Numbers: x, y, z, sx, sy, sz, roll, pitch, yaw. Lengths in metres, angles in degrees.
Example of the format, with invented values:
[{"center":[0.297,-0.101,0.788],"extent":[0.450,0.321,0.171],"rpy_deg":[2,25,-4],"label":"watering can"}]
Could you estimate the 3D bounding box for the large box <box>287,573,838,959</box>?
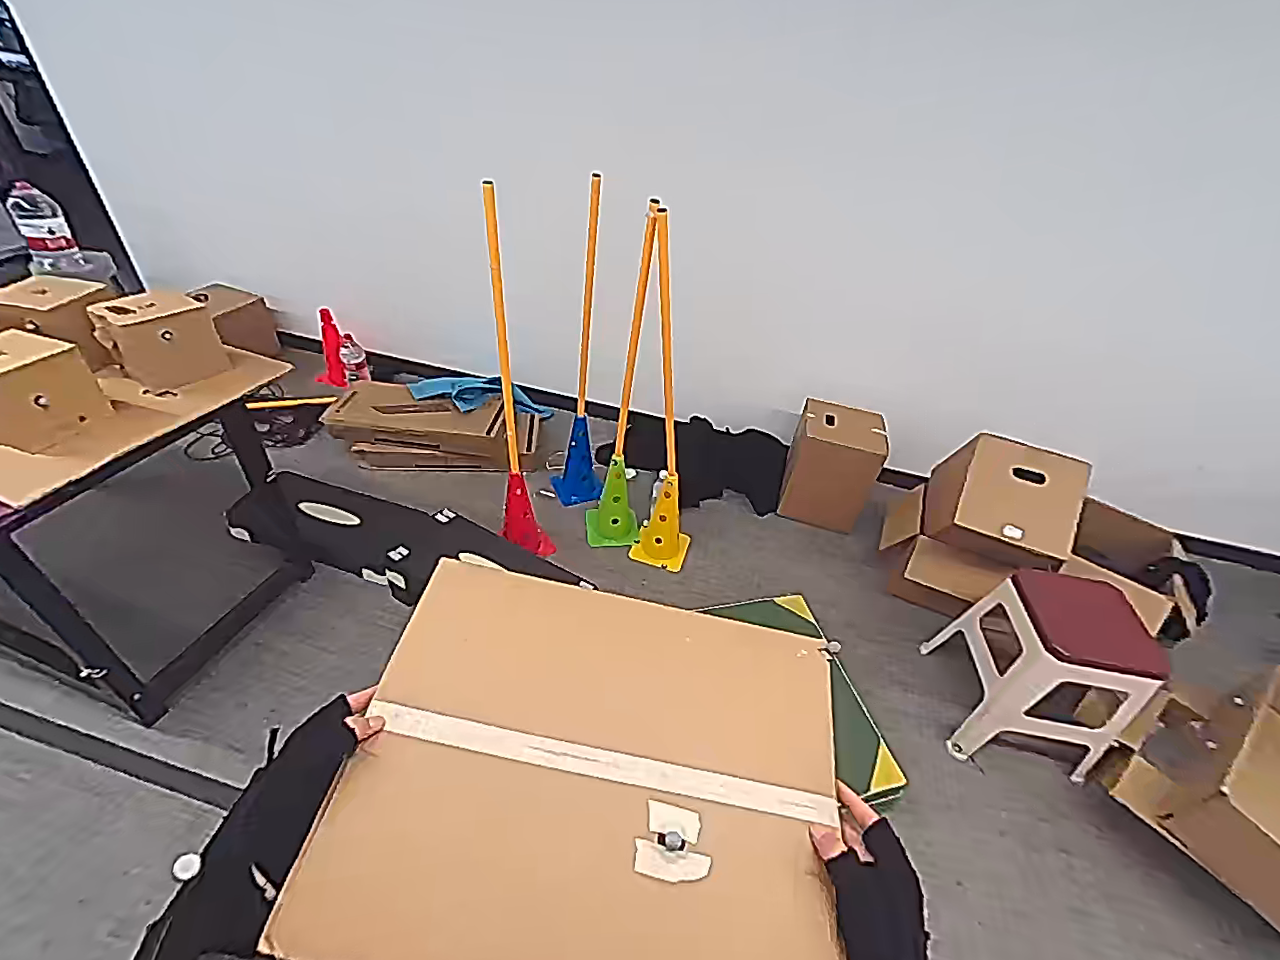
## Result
[{"center":[-0.051,0.342,0.581],"extent":[0.408,0.320,0.320],"rpy_deg":[12,51,0],"label":"large box"}]
